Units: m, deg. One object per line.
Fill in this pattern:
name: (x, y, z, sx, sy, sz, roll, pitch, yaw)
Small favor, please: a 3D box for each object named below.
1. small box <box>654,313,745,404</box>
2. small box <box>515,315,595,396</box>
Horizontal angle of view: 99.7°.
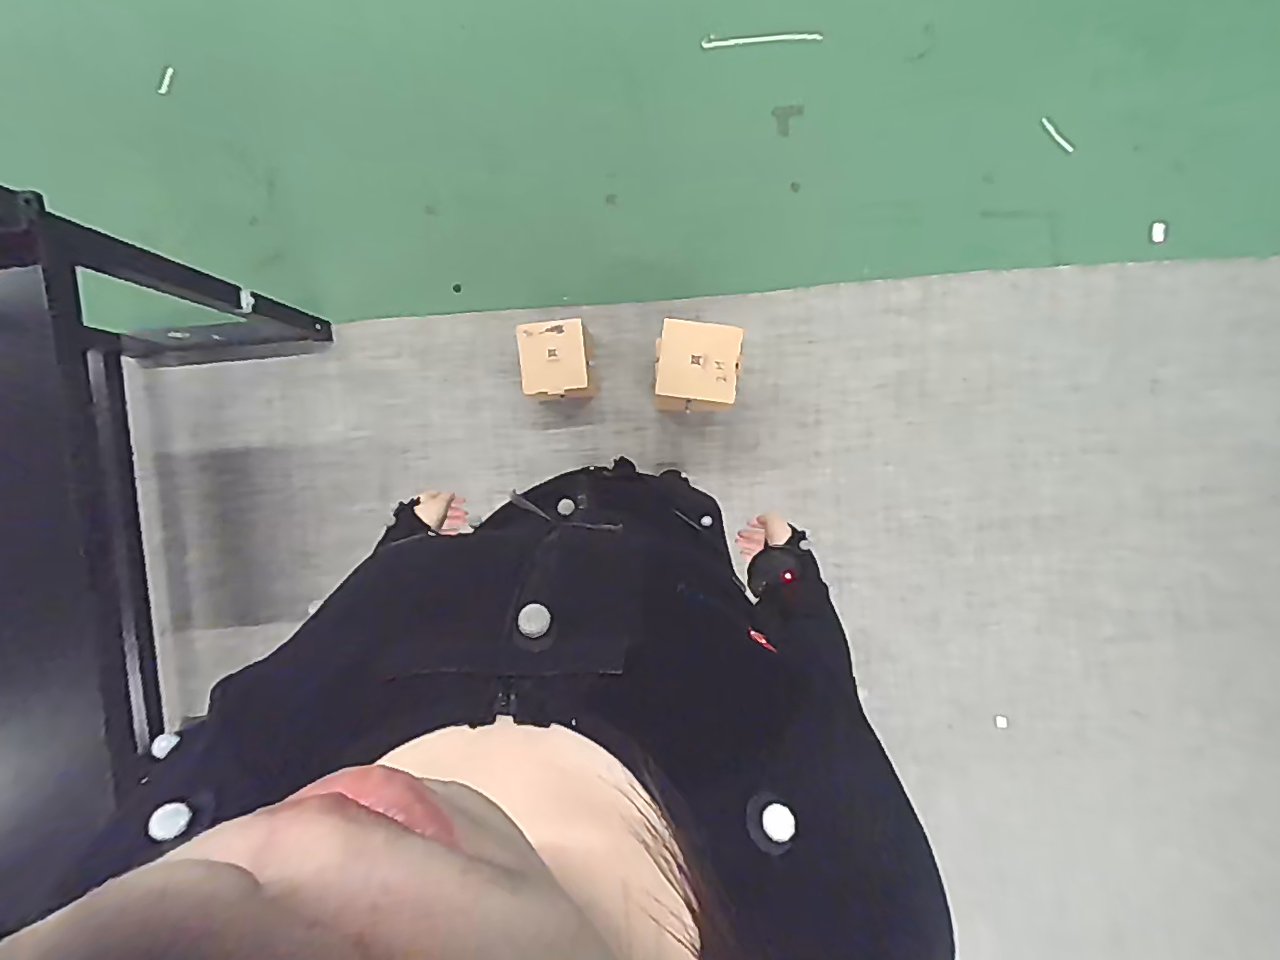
small box: (0.128, -0.266, 1.221, 0.179, 0.176, 0.168, 7, 95, 1)
small box: (-0.212, -0.312, 1.393, 0.168, 0.176, 0.179, -6, 93, 2)
